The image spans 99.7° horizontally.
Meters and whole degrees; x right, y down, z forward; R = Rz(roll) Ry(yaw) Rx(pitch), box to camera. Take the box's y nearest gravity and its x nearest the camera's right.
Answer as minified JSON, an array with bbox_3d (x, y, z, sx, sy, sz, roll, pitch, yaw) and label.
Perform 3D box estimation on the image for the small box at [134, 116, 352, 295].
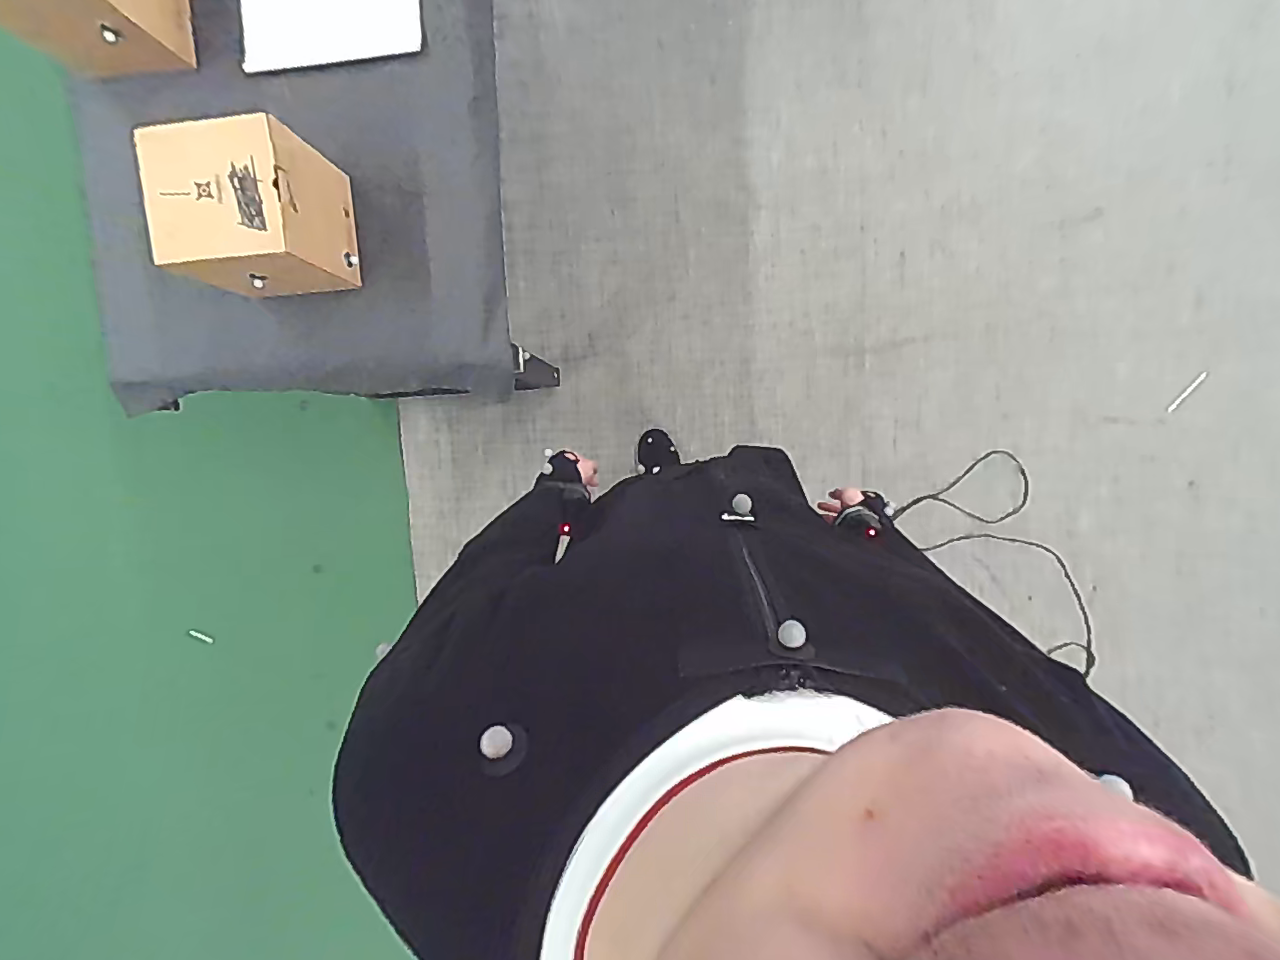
[{"bbox_3d":[-0.521,-0.361,0.741,0.179,0.176,0.168,-4,95,2],"label":"small box"}]

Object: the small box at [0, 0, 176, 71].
[{"bbox_3d":[-0.753,-0.676,0.704,0.179,0.176,0.168,-3,94,3],"label":"small box"}]
